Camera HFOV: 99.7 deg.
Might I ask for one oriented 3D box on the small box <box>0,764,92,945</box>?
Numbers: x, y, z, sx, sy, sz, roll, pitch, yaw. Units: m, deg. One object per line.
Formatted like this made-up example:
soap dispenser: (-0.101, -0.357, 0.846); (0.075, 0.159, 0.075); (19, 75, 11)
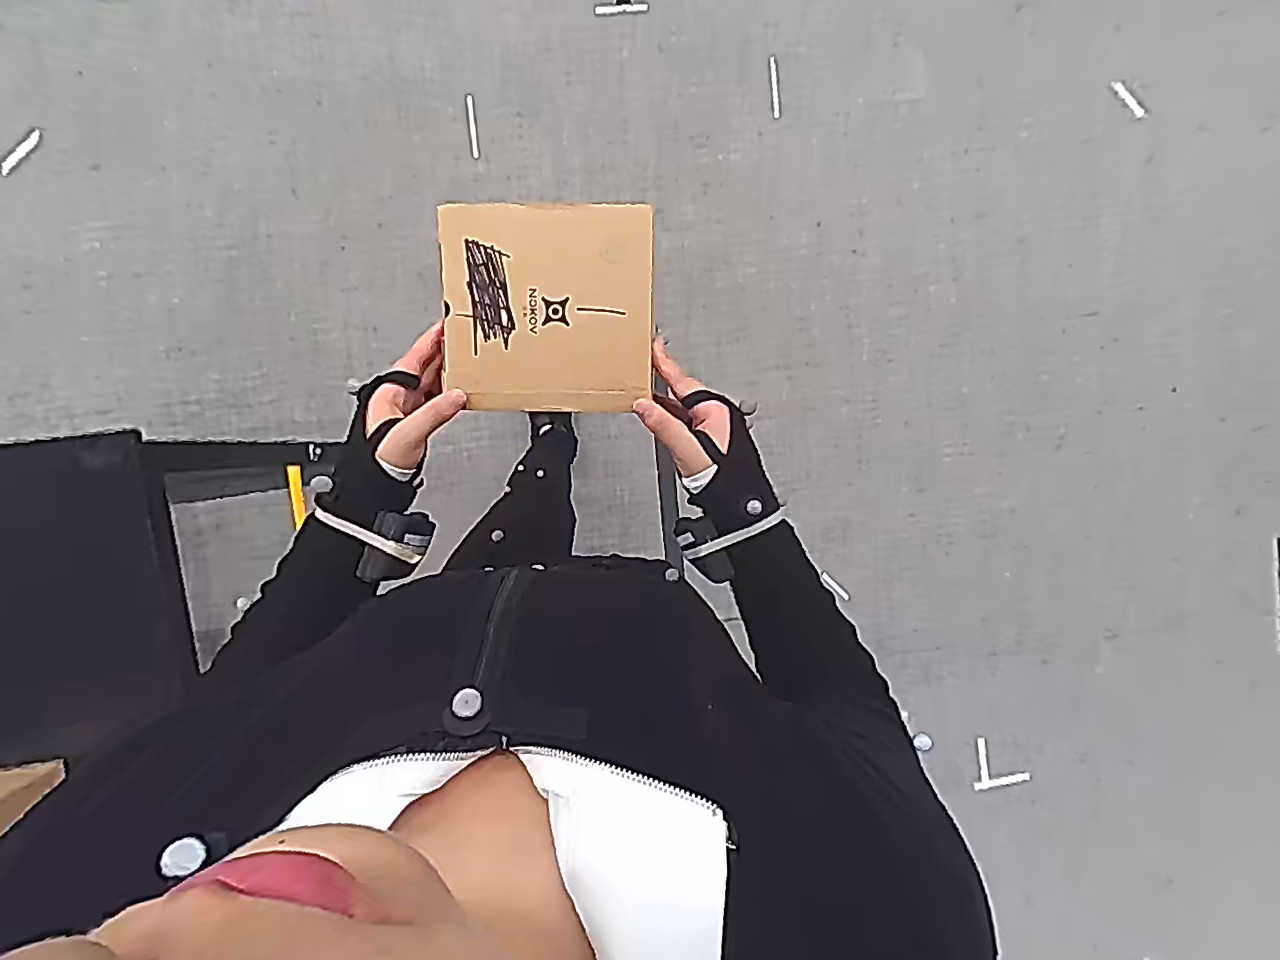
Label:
small box: (-0.818, 0.466, 0.631); (0.179, 0.176, 0.168); (-8, 95, -4)

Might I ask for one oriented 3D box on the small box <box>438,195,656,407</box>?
small box: (-0.076, -0.156, 0.522); (0.179, 0.176, 0.168); (1, 97, 2)
